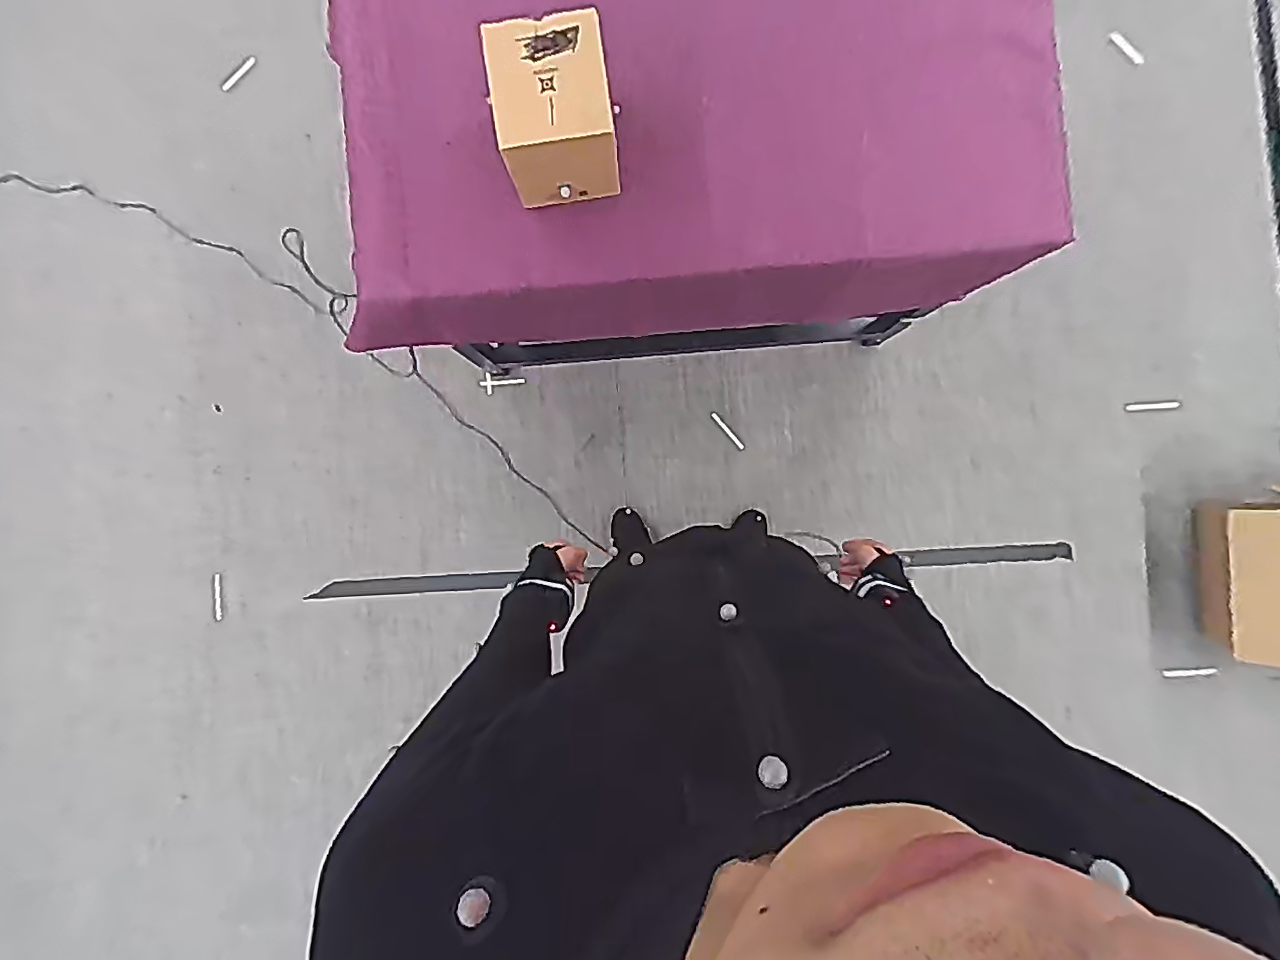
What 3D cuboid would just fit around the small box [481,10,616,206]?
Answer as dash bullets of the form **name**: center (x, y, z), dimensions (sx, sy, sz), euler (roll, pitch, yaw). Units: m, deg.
- **small box**: center (-0.131, -0.558, 0.832), dimensions (0.168, 0.176, 0.179), euler (-9, 90, 1)
